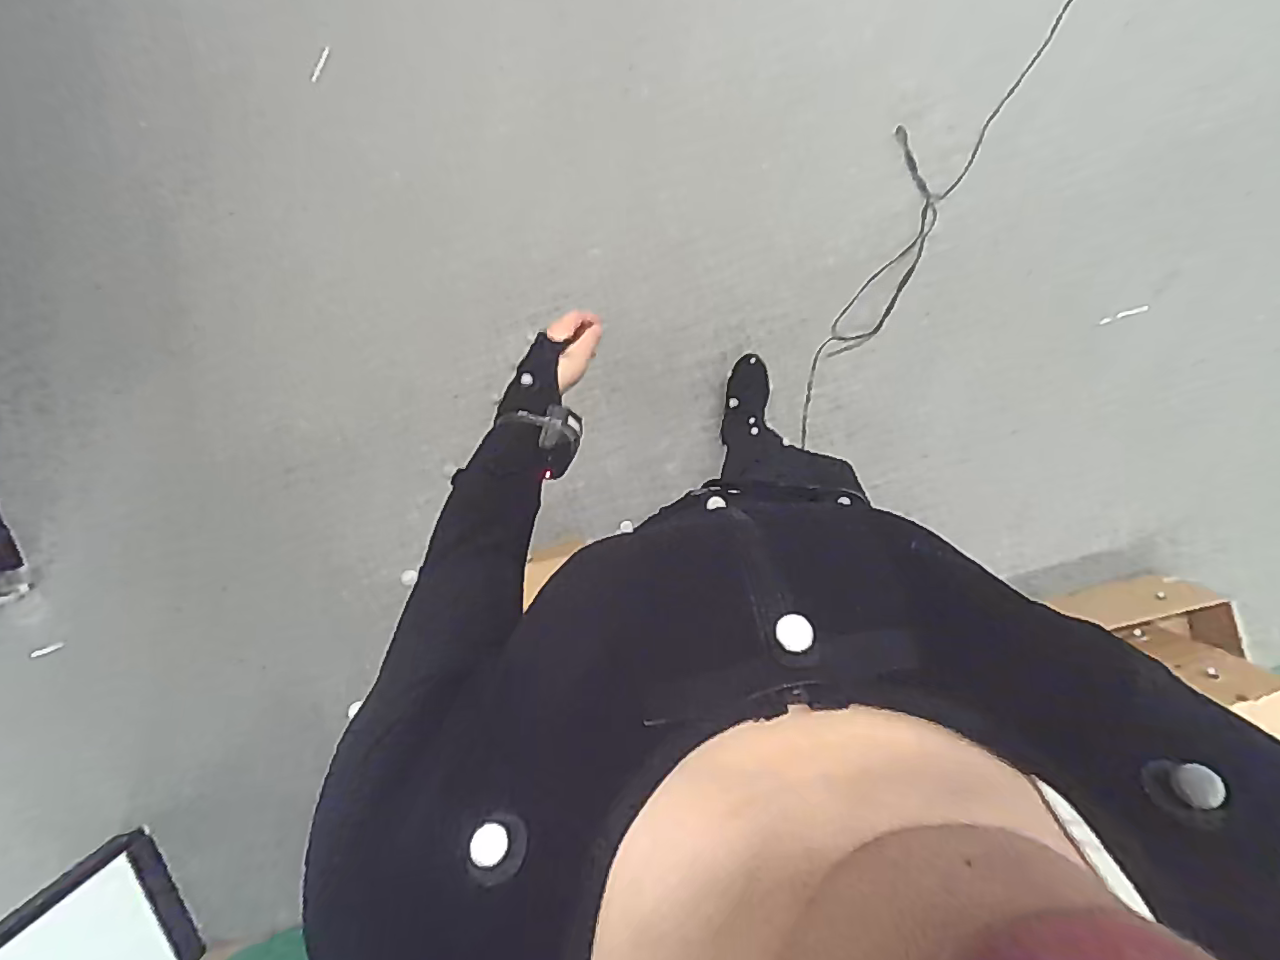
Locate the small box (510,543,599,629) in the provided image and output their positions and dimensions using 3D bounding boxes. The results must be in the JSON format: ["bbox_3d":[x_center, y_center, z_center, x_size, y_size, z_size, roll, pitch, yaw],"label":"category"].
[{"bbox_3d":[-0.222,0.279,1.453,0.179,0.176,0.168,-13,96,7],"label":"small box"}]

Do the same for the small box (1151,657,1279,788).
[{"bbox_3d":[1.233,0.491,1.126,0.168,0.176,0.179,-21,93,7],"label":"small box"}]
